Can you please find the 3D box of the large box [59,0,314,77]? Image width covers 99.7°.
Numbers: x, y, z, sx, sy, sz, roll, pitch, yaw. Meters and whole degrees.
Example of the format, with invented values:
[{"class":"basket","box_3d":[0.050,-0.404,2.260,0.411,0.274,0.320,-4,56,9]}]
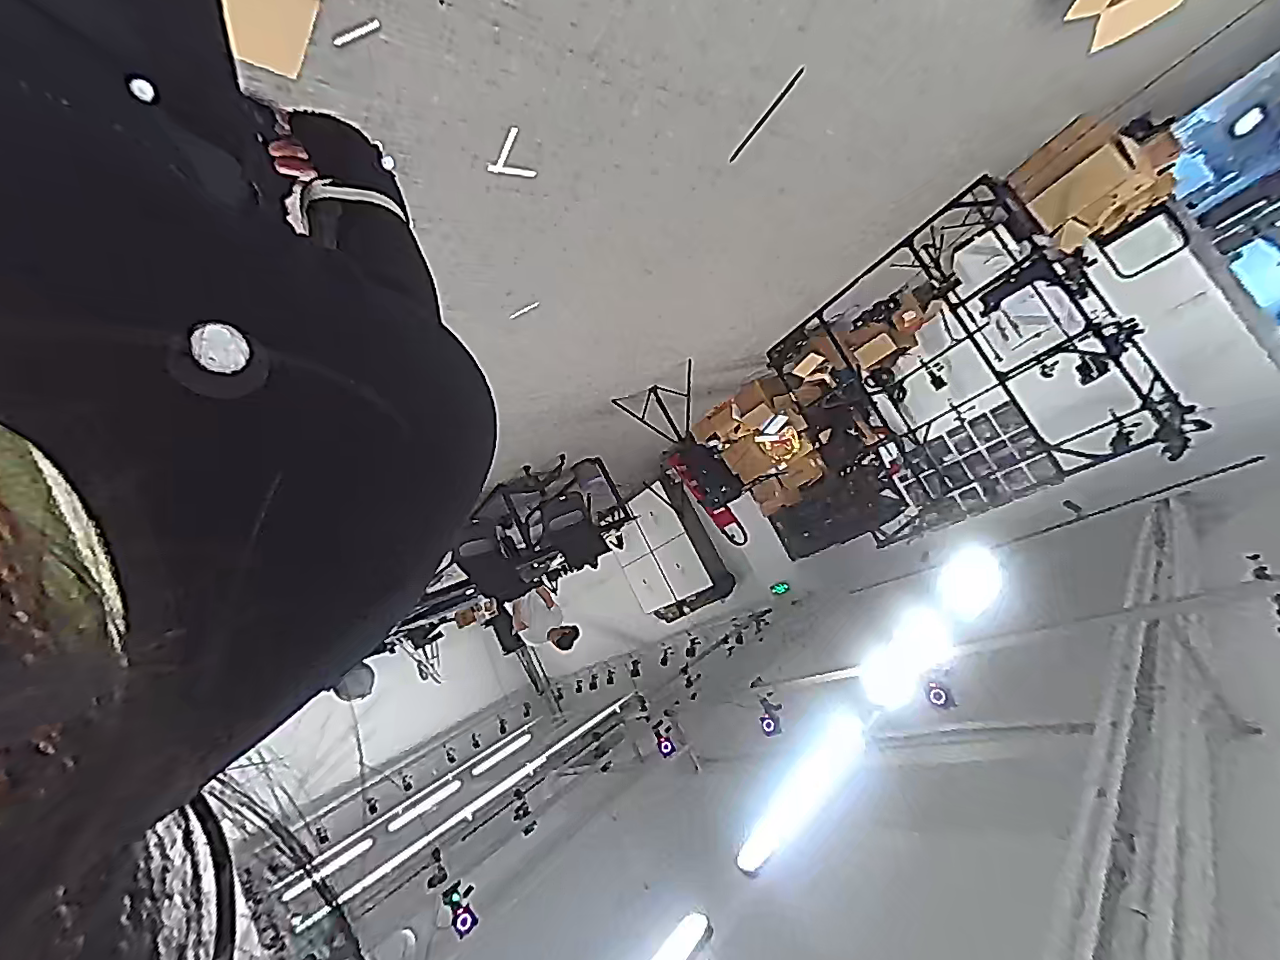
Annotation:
[{"class":"large box","box_3d":[-0.693,-0.855,0.715,0.320,0.320,0.408,-37,168,37]}]
